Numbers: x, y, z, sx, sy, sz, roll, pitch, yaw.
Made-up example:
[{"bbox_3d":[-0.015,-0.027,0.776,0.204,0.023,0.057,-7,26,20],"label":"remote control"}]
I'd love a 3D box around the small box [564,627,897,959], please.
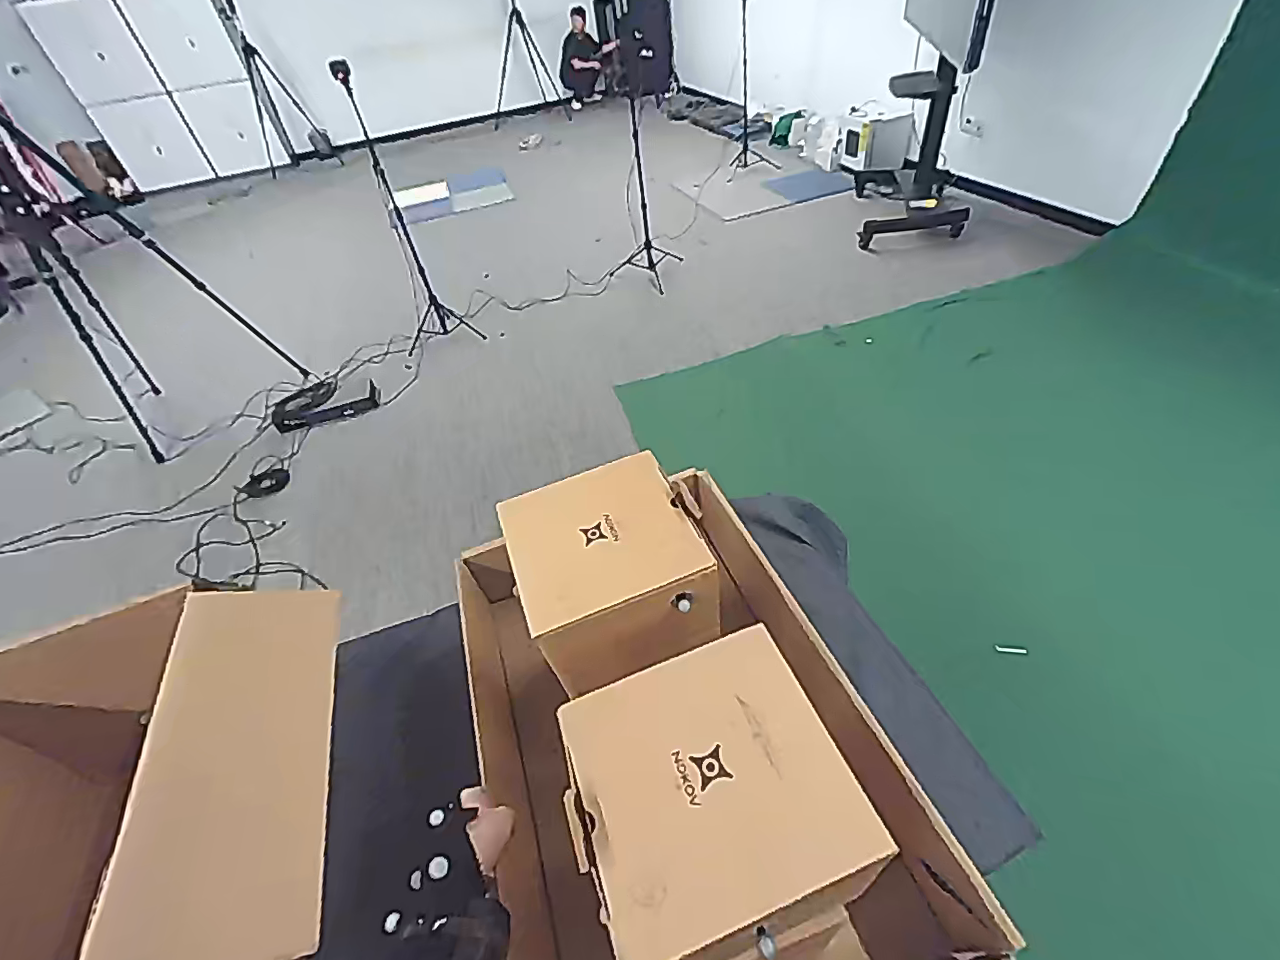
[{"bbox_3d":[0.061,0.253,0.420,0.179,0.176,0.168,-21,47,-9],"label":"small box"}]

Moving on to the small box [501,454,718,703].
[{"bbox_3d":[-0.027,0.108,0.578,0.179,0.176,0.168,-20,48,-9],"label":"small box"}]
